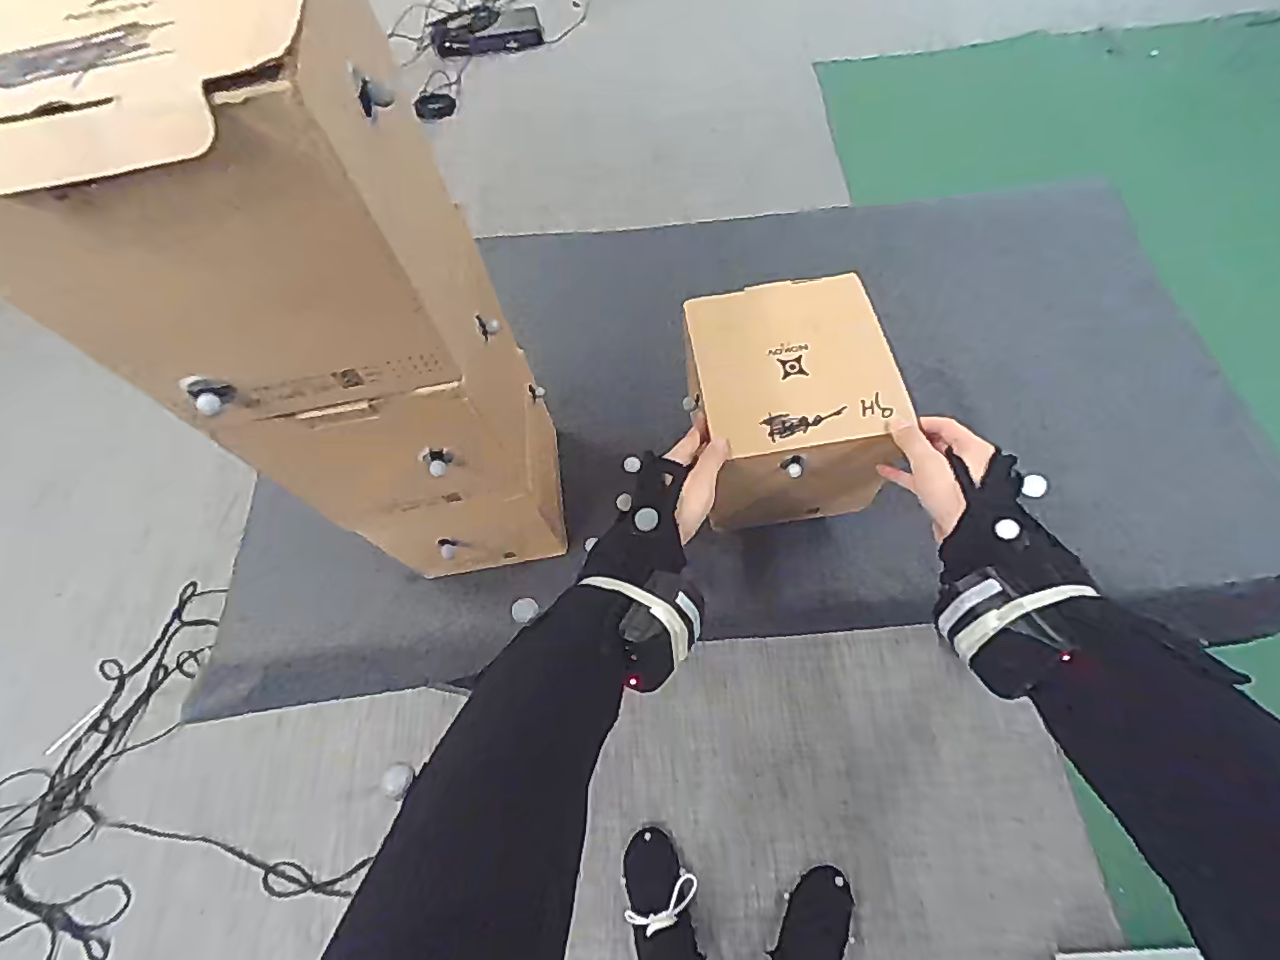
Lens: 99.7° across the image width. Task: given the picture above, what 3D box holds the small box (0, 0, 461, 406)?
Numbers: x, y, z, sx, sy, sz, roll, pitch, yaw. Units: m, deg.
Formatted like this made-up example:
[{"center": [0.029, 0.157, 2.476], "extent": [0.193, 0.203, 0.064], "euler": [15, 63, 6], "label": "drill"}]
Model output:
[{"center": [-0.206, -0.157, 0.295], "extent": [0.168, 0.176, 0.179], "euler": [-11, 62, -3], "label": "small box"}]

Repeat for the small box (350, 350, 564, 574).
[{"center": [-0.182, -0.008, 0.585], "extent": [0.168, 0.176, 0.179], "euler": [-10, 62, 0], "label": "small box"}]

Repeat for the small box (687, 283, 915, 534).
[{"center": [0.140, -0.063, 0.544], "extent": [0.168, 0.176, 0.179], "euler": [-9, 64, 3], "label": "small box"}]

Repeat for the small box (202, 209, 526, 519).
[{"center": [-0.195, -0.080, 0.440], "extent": [0.168, 0.176, 0.179], "euler": [-10, 61, -2], "label": "small box"}]
